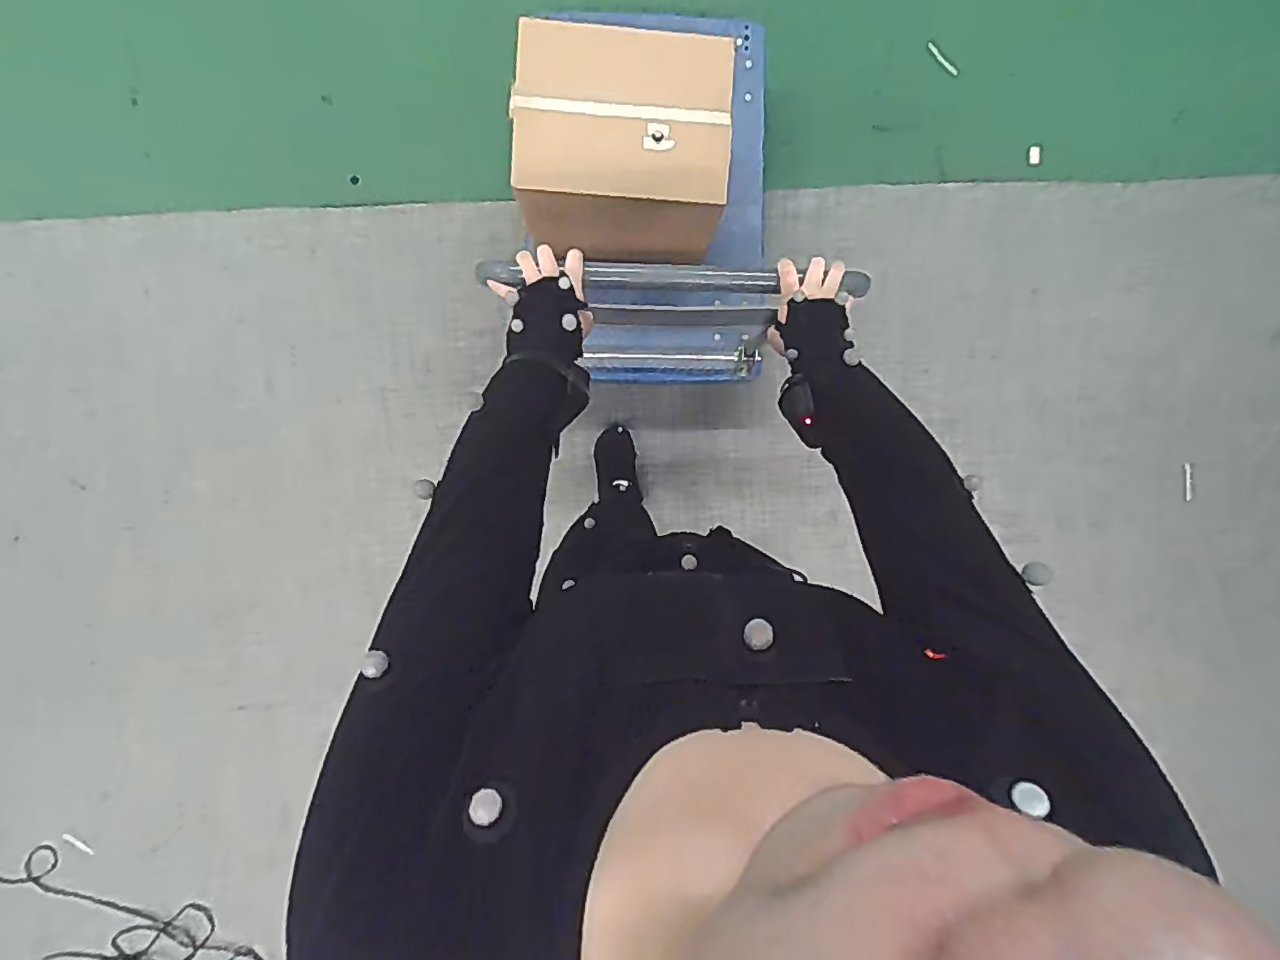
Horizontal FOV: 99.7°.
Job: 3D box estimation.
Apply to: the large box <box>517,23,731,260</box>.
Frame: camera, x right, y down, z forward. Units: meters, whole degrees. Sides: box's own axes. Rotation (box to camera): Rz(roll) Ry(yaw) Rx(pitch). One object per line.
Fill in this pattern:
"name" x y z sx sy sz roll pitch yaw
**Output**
"large box" -0.039 -0.696 1.170 0.408 0.320 0.320 3 91 -4
